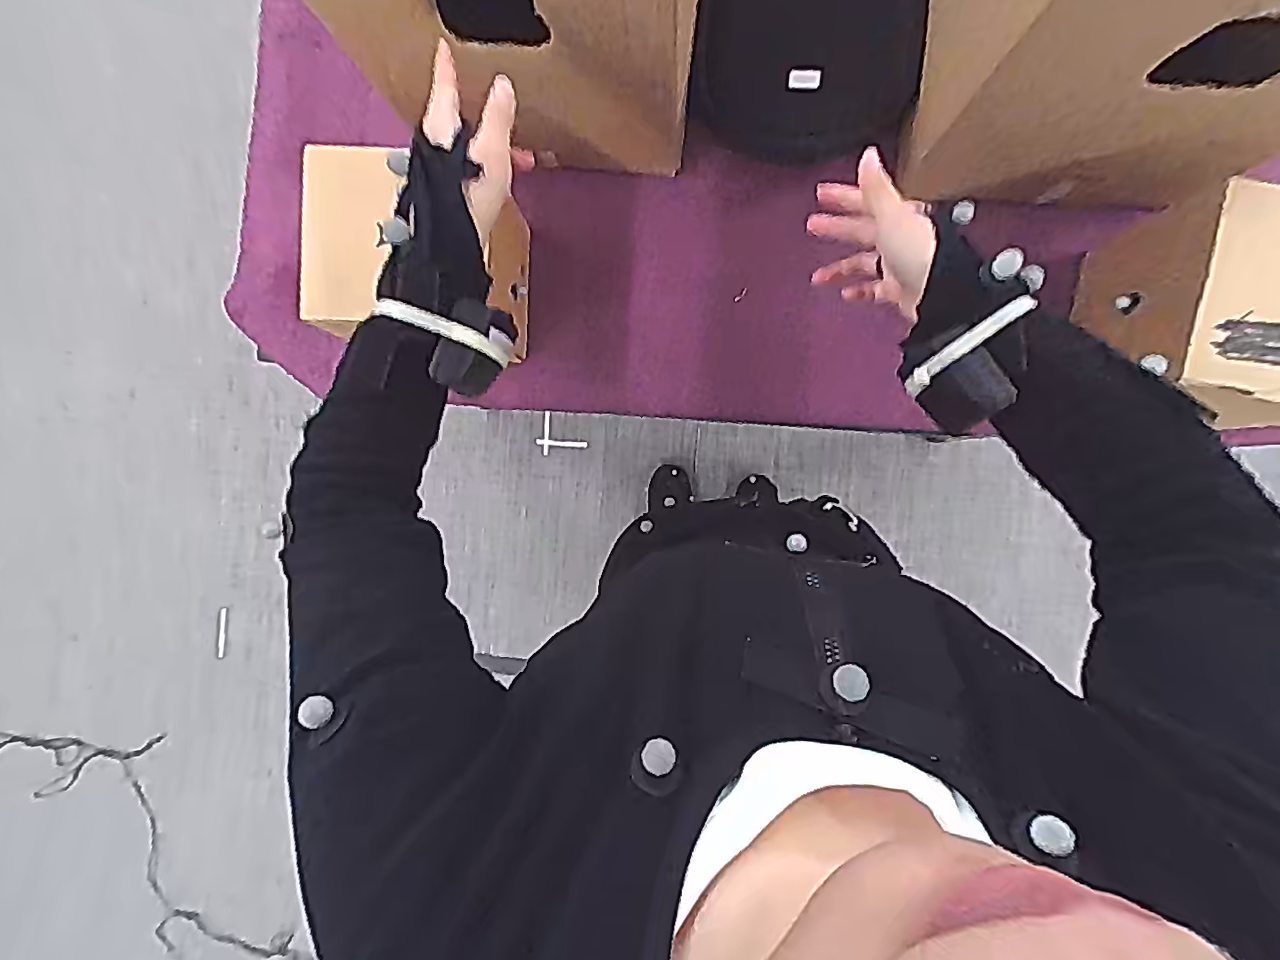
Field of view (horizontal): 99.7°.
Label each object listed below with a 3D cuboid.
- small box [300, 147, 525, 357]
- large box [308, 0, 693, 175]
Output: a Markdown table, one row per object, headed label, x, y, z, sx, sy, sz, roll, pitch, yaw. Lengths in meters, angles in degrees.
| label | x | y | z | sx | sy | sz | roll | pitch | yaw |
| --- | --- | --- | --- | --- | --- | --- | --- | --- | --- |
| small box | -0.235 | -0.234 | 0.595 | 0.179 | 0.176 | 0.168 | 1 | 91 | 1 |
| large box | -0.097 | -0.573 | 0.509 | 0.320 | 0.320 | 0.408 | 6 | 95 | 5 |
